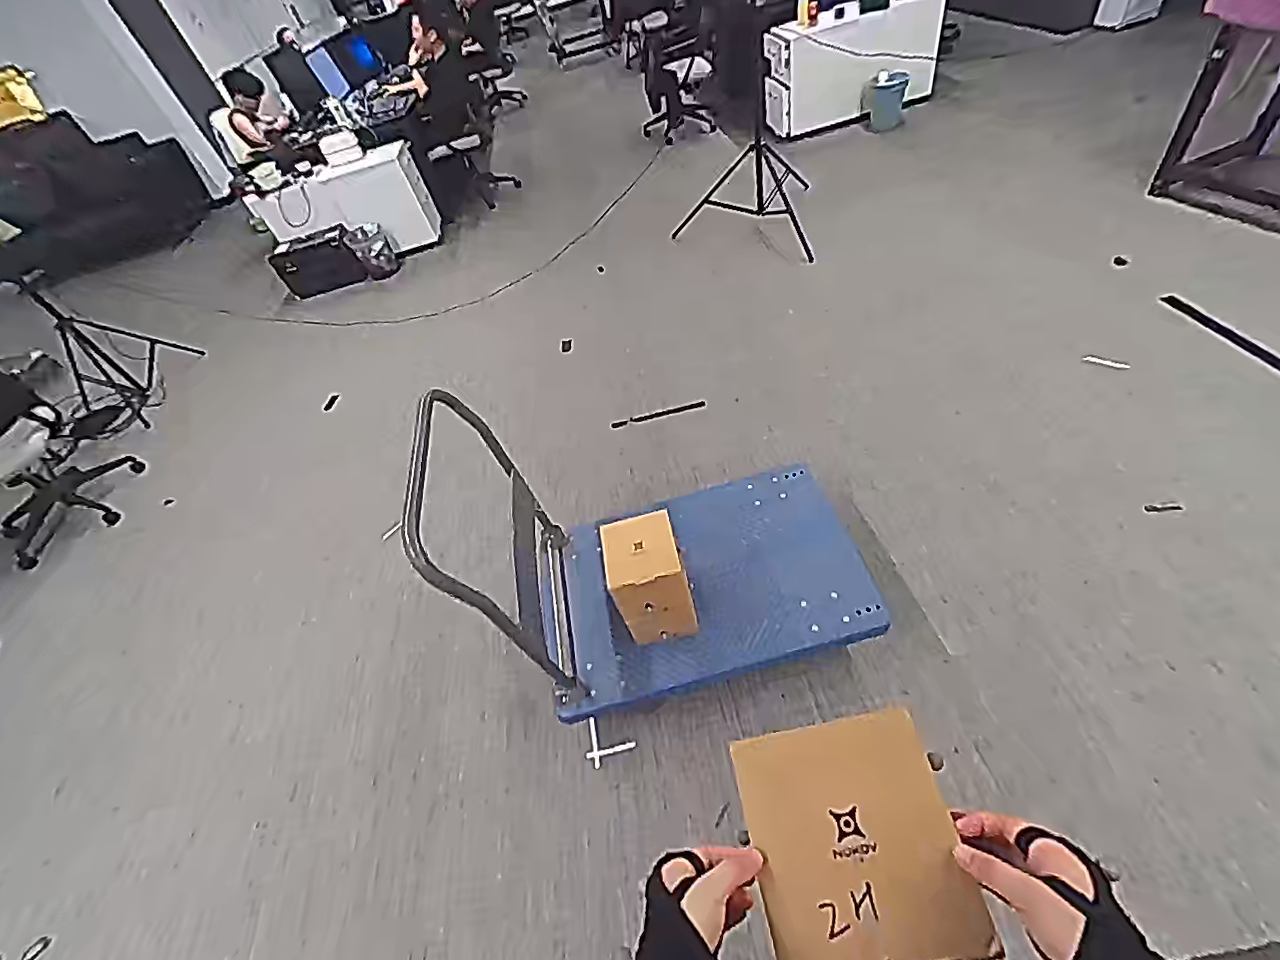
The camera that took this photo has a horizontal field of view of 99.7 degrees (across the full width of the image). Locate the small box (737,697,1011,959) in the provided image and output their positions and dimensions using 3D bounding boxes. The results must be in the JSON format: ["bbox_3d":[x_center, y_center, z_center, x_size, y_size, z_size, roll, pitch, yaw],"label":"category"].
[{"bbox_3d":[0.199,0.324,0.511,0.168,0.176,0.179,-17,57,9],"label":"small box"}]

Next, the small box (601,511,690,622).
[{"bbox_3d":[0.014,0.205,1.264,0.168,0.176,0.179,-15,48,2],"label":"small box"}]
